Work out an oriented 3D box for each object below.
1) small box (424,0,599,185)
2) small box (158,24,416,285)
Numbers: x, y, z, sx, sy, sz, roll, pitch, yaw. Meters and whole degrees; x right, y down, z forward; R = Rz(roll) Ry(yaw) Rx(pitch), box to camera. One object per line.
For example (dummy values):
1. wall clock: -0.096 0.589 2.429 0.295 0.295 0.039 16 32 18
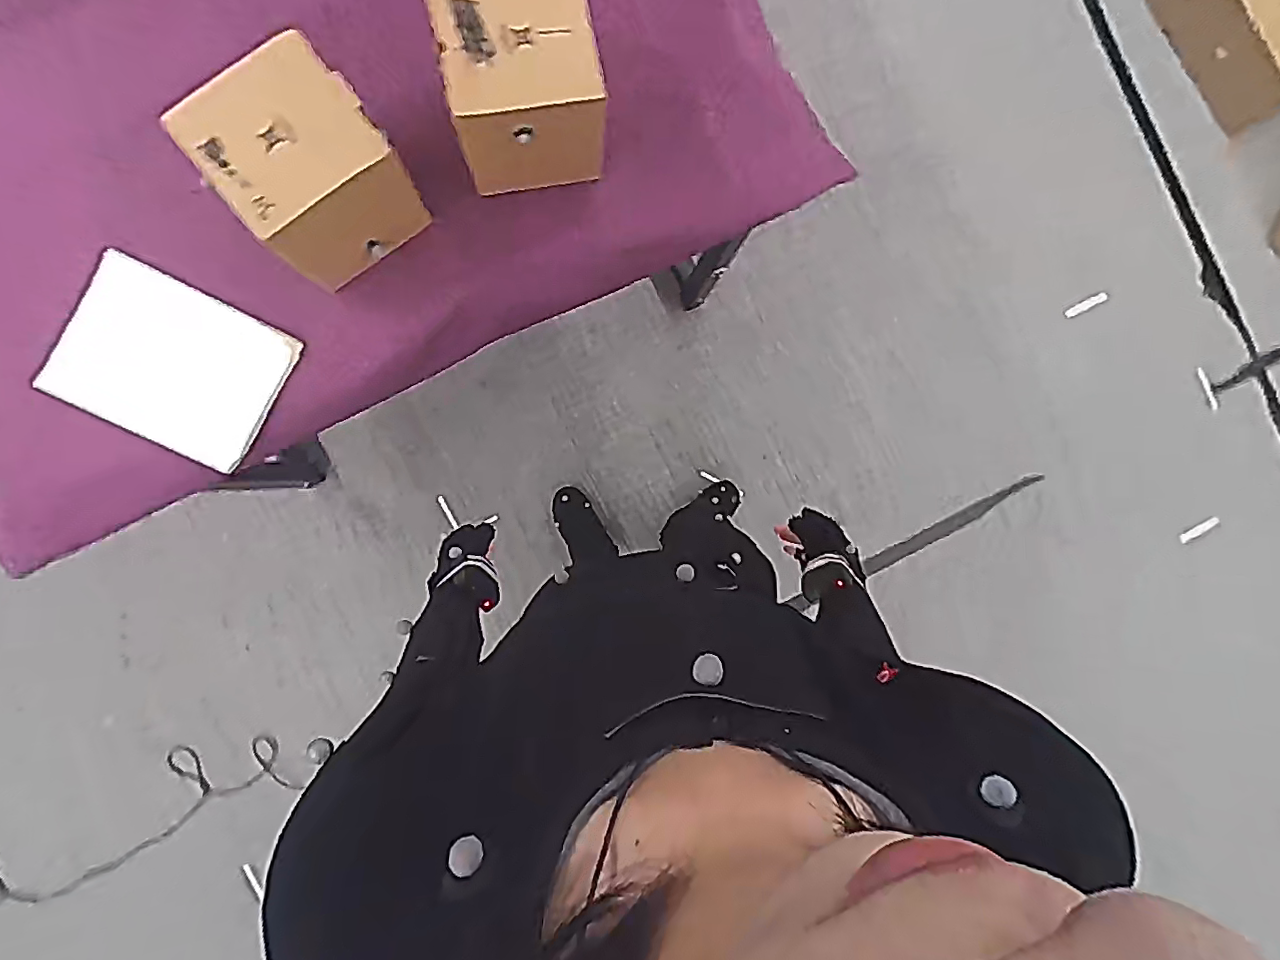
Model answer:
1. small box: -0.152 -0.502 0.682 0.179 0.176 0.168 -12 90 -6
2. small box: -0.400 -0.375 0.658 0.179 0.176 0.168 -39 93 -5
